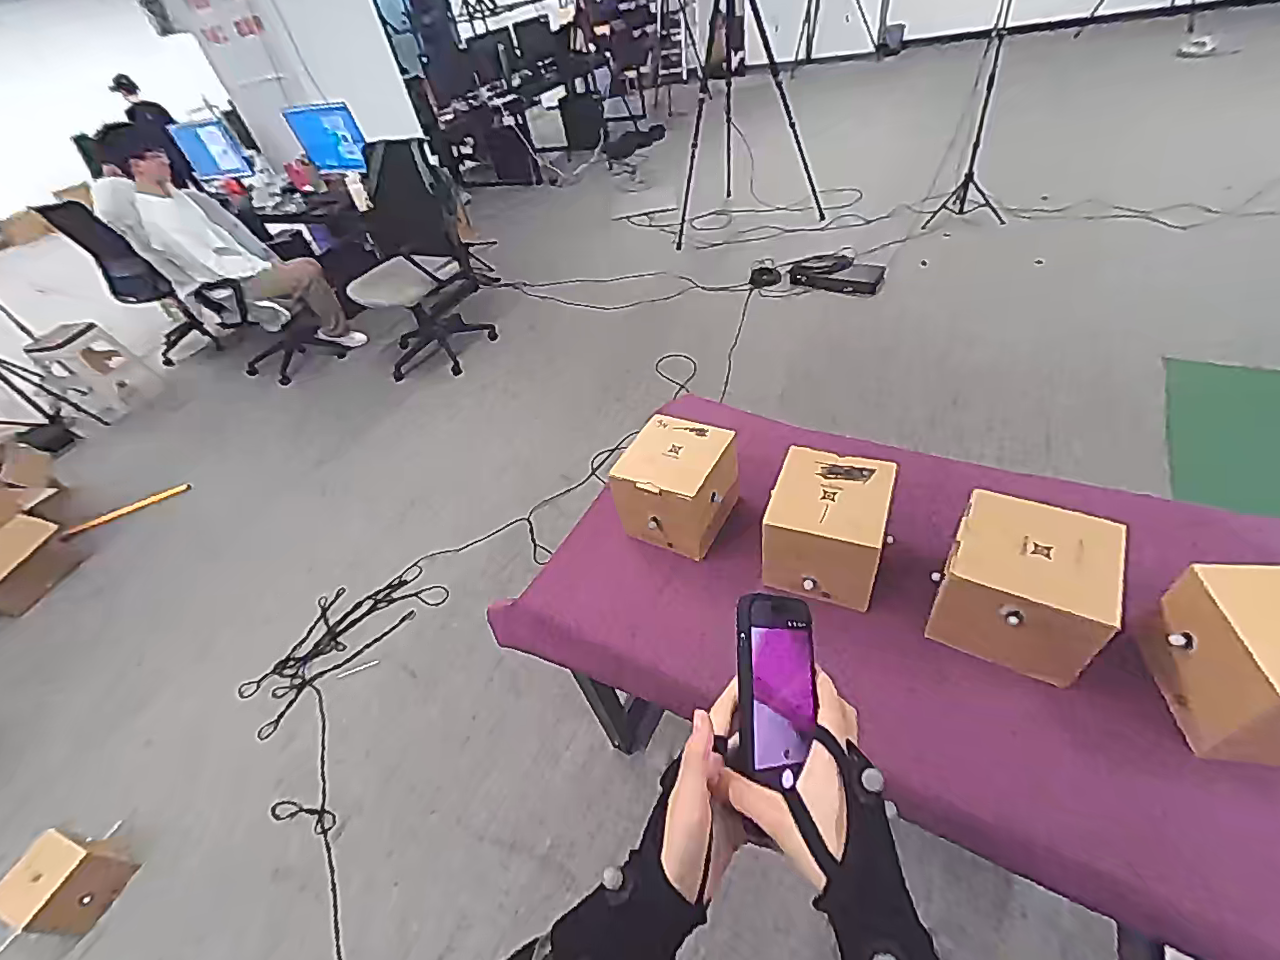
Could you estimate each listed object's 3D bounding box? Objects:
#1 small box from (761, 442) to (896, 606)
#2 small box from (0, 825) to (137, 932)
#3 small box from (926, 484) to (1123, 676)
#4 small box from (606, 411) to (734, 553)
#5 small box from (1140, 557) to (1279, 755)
[{"bbox_3d":[0.297,0.069,0.866,0.168,0.176,0.179,12,50,24],"label":"small box"},{"bbox_3d":[-1.457,1.016,1.374,0.179,0.176,0.168,8,48,21],"label":"small box"},{"bbox_3d":[0.515,0.138,0.744,0.179,0.176,0.168,19,53,29],"label":"small box"},{"bbox_3d":[0.066,0.004,0.987,0.168,0.176,0.179,17,52,28],"label":"small box"},{"bbox_3d":[0.733,0.205,0.621,0.179,0.176,0.168,-1,44,13],"label":"small box"}]
